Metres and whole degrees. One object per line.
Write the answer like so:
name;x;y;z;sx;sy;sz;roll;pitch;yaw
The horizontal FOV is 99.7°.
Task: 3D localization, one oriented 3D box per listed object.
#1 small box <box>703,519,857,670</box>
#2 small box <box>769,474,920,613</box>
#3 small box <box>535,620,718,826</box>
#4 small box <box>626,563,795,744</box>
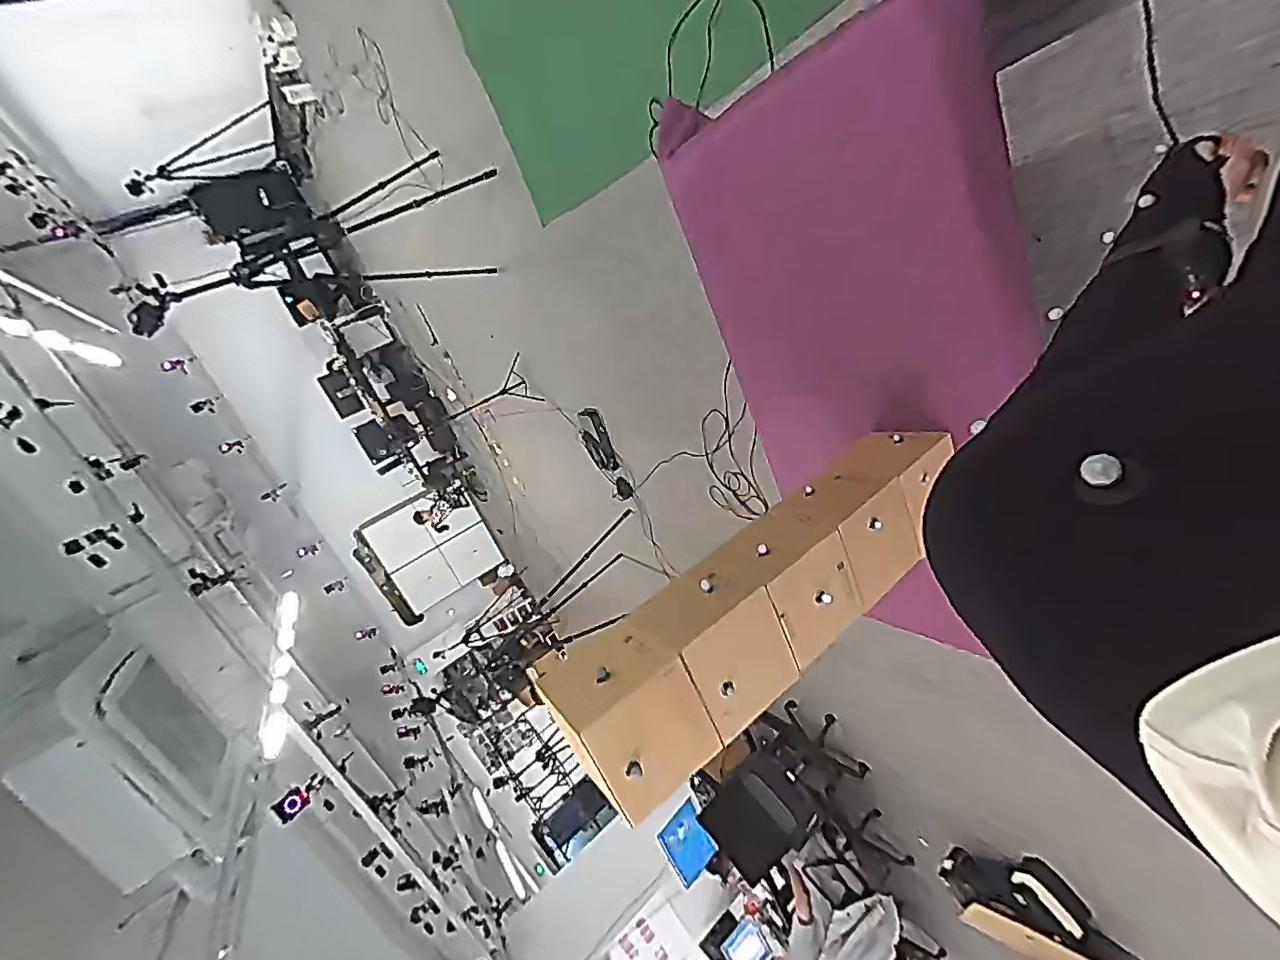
small box;0.239;0.180;0.912;0.179;0.176;0.168;7;124;60
small box;0.368;0.103;0.974;0.168;0.176;0.179;9;127;60
small box;-0.018;0.331;0.778;0.168;0.176;0.179;7;125;60
small box;0.112;0.257;0.842;0.168;0.176;0.179;7;123;61
